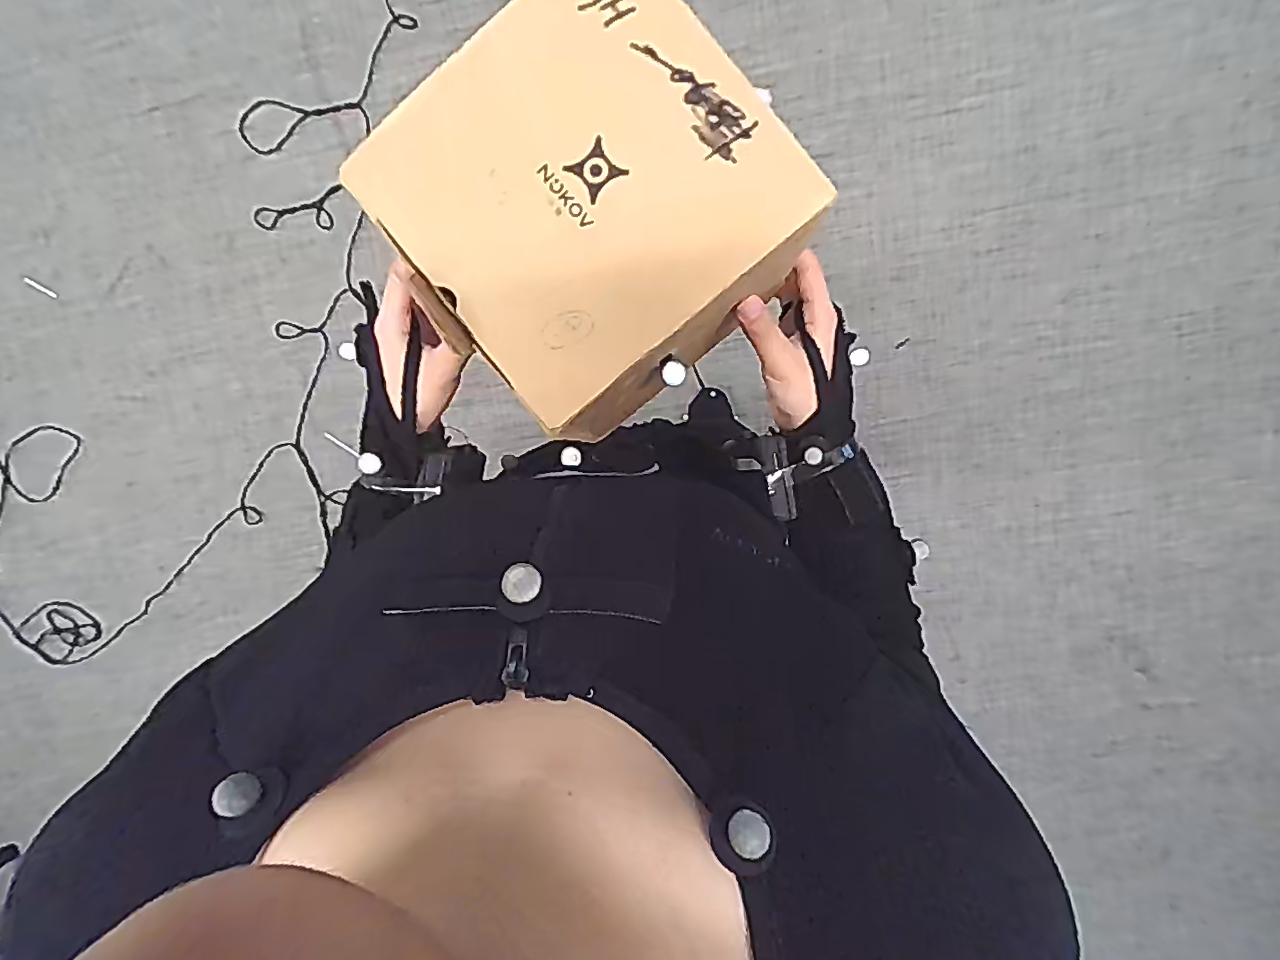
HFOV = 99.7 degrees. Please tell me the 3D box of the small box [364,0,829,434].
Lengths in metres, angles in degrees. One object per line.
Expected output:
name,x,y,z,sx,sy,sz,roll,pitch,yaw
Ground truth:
small box,-0.019,-0.141,0.343,0.179,0.176,0.168,-39,91,4
